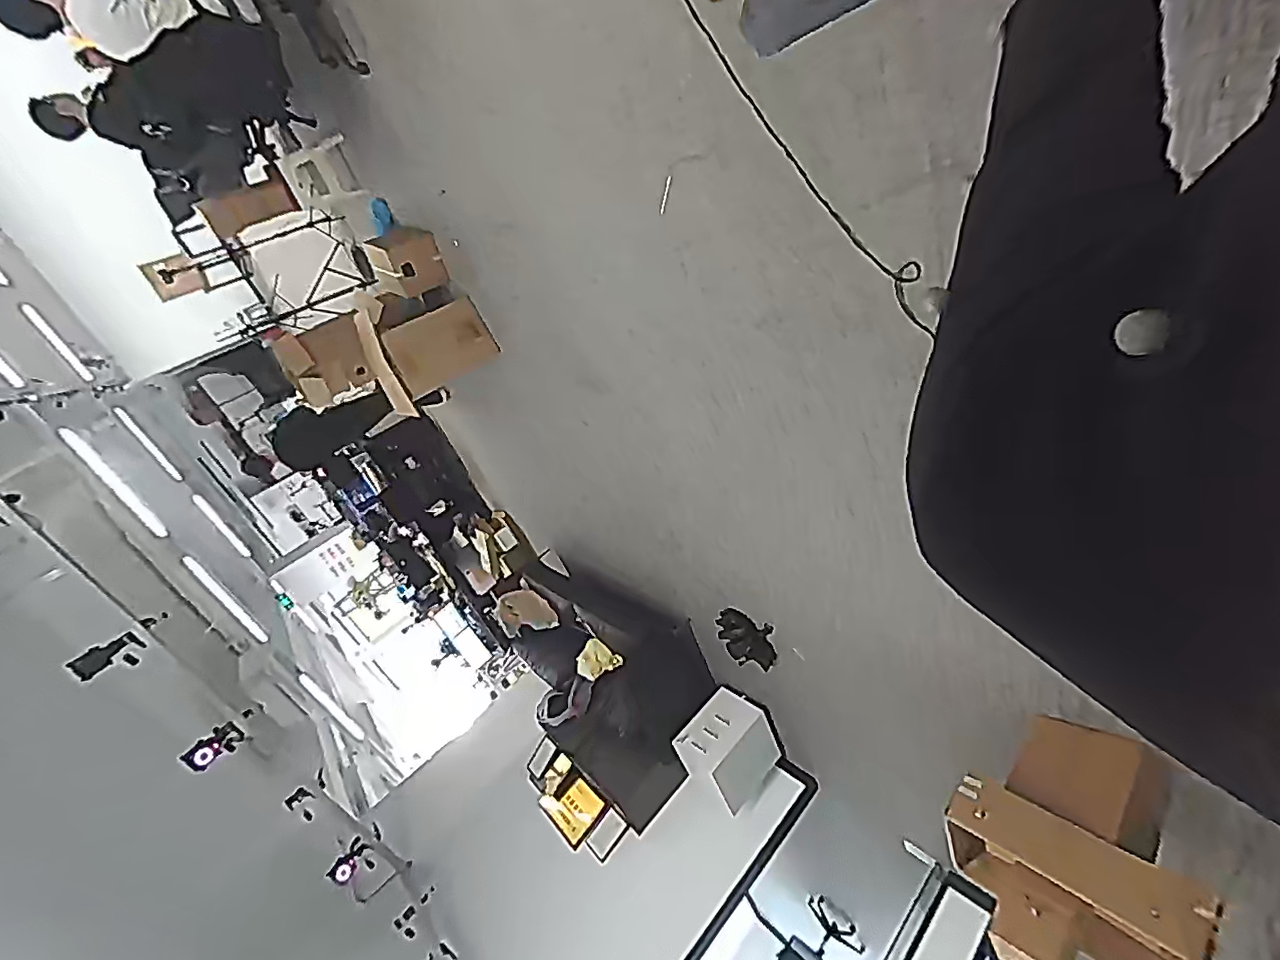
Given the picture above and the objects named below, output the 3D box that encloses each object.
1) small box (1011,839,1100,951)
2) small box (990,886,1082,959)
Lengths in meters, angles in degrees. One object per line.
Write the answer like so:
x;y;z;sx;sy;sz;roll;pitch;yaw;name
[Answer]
1.266;1.251;1.642;0.168;0.176;0.179;4;127;54;small box
1.152;1.344;1.568;0.168;0.176;0.179;3;126;53;small box
